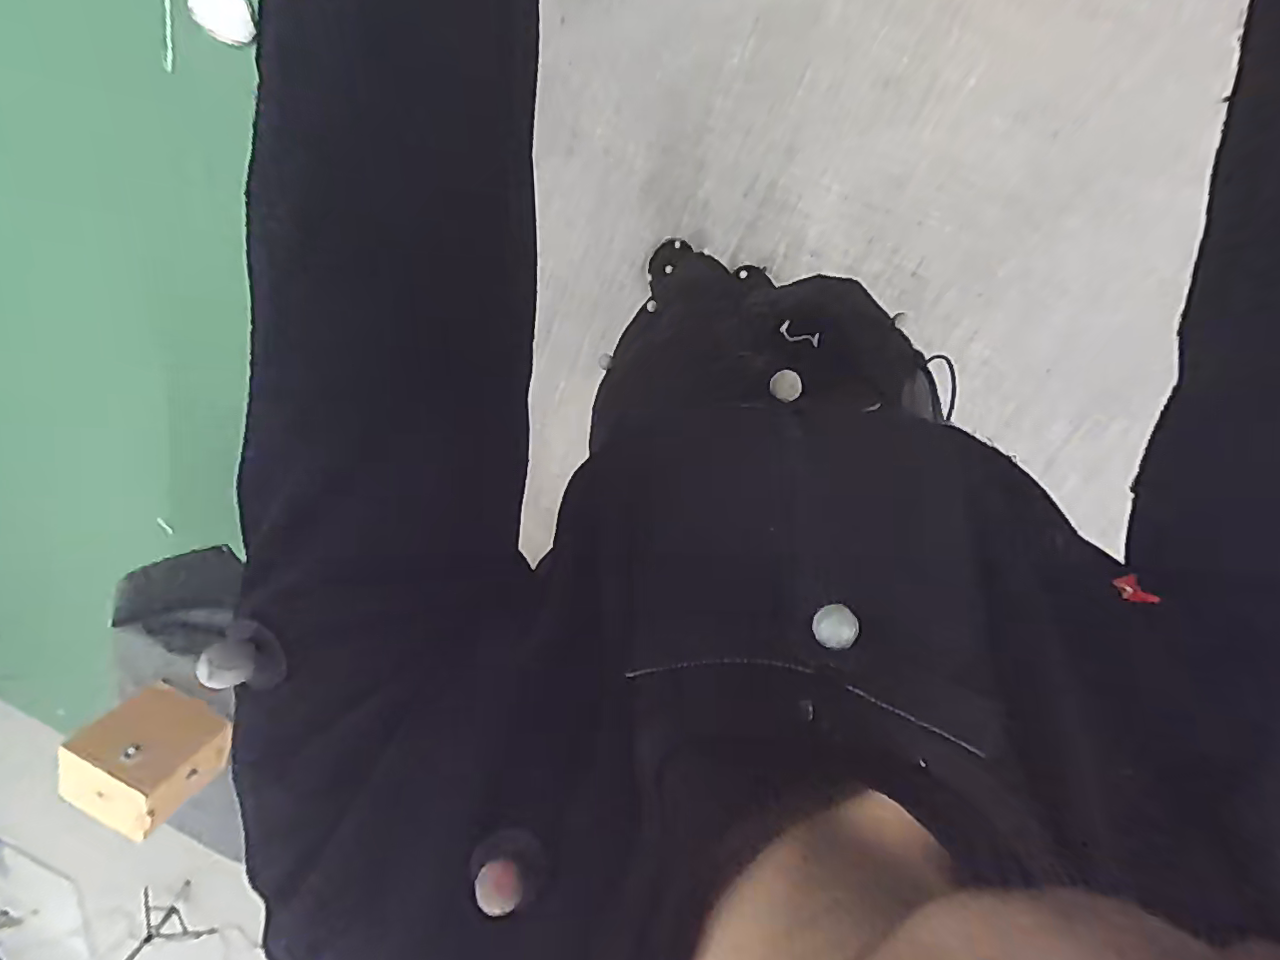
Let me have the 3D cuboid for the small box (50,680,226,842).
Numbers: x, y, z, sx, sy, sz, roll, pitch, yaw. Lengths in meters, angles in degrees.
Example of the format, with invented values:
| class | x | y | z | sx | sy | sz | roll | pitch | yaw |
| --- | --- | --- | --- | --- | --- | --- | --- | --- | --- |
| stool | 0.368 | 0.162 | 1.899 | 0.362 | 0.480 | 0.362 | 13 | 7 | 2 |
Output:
| class | x | y | z | sx | sy | sz | roll | pitch | yaw |
| --- | --- | --- | --- | --- | --- | --- | --- | --- | --- |
| small box | -0.915 | 0.508 | 0.997 | 0.179 | 0.176 | 0.168 | 31 | 115 | 0 |
